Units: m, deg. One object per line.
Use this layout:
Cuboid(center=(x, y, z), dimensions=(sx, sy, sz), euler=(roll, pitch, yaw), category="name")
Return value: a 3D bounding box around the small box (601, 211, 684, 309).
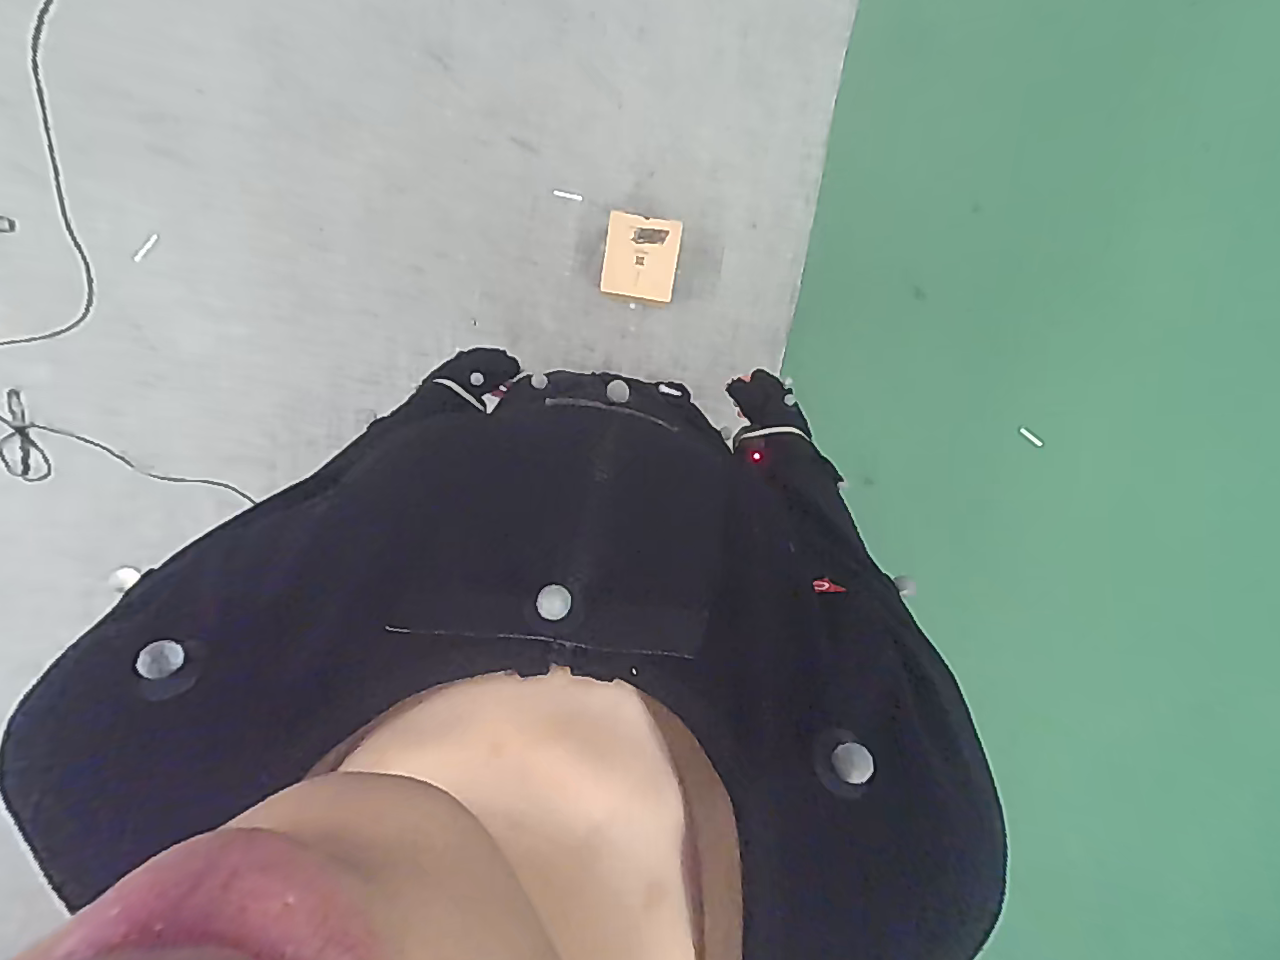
Cuboid(center=(0.004, -0.515, 1.290), dimensions=(0.168, 0.176, 0.179), euler=(9, 103, -1), category="small box")
